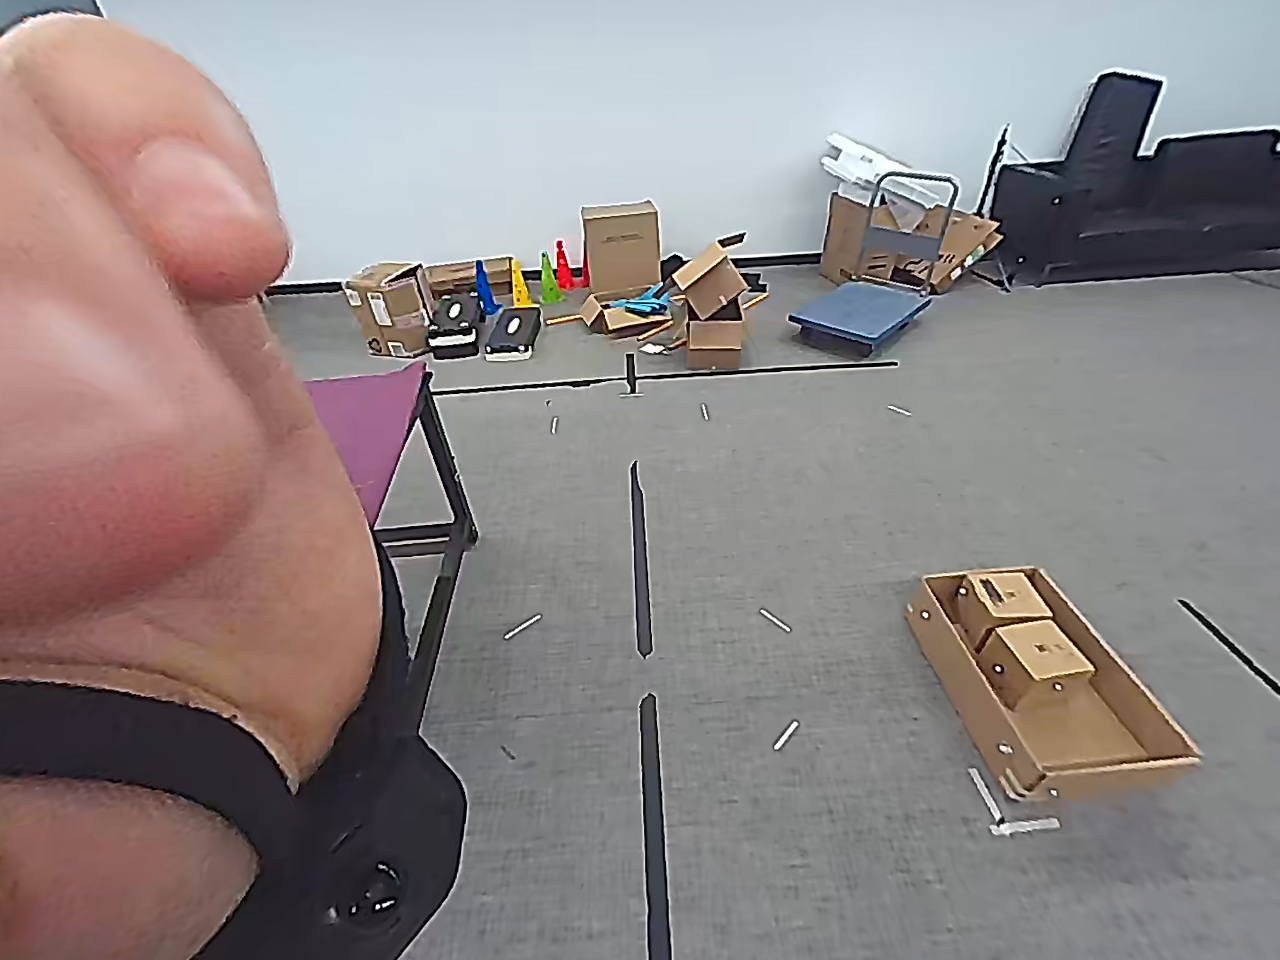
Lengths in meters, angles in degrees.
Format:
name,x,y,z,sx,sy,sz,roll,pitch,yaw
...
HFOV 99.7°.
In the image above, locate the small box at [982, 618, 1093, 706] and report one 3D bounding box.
name,x,y,z,sx,sy,sz,roll,pitch,yaw
small box,1.107,0.518,1.530,0.179,0.176,0.168,-7,39,-5
